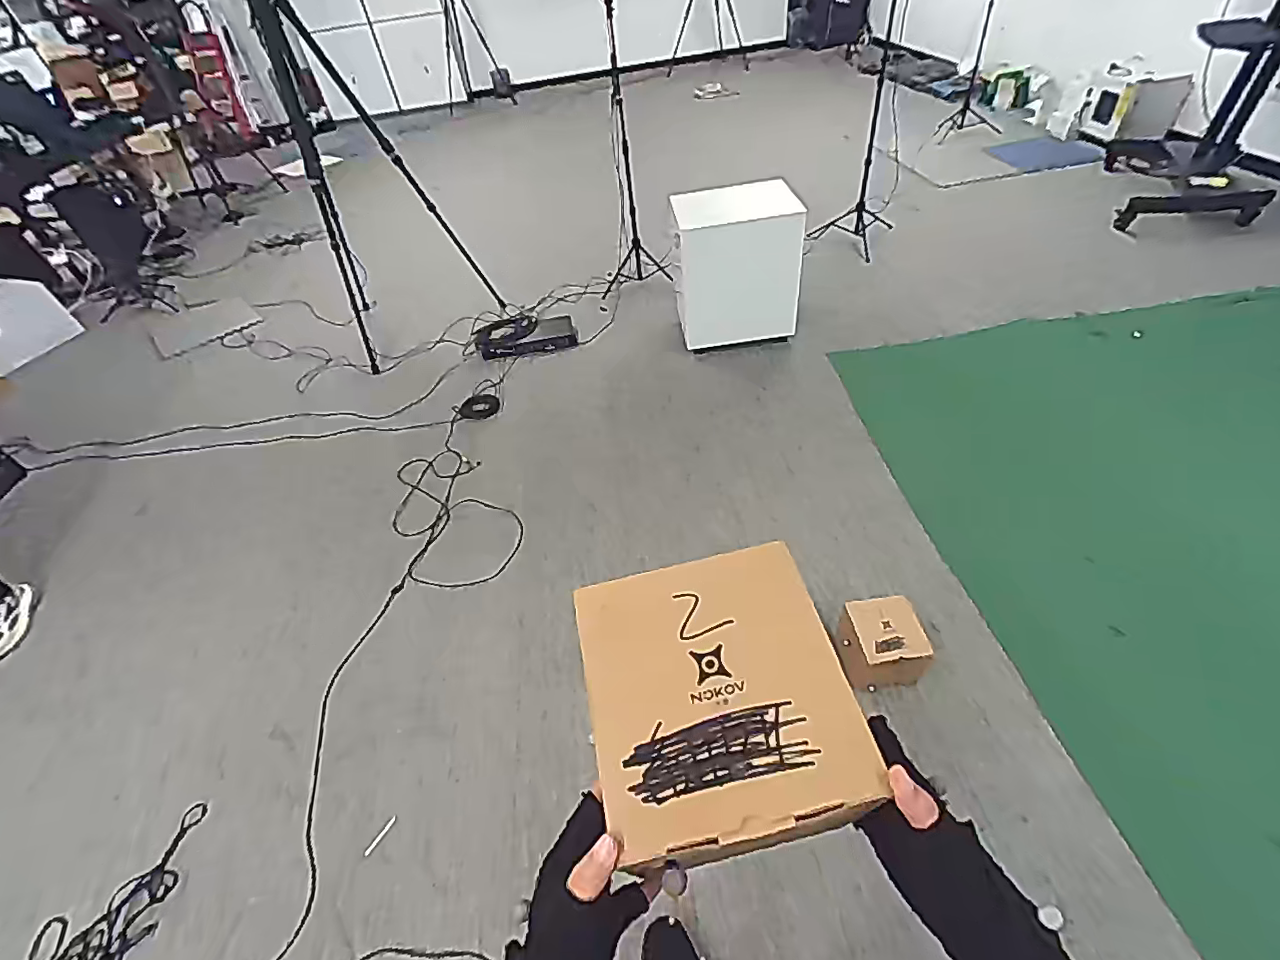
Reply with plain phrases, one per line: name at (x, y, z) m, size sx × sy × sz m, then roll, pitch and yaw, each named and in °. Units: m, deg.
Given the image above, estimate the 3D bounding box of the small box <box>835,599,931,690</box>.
small box at (0.633, 0.441, 1.432) m, size 0.168 × 0.176 × 0.179 m, roll -7°, pitch 45°, yaw 1°
